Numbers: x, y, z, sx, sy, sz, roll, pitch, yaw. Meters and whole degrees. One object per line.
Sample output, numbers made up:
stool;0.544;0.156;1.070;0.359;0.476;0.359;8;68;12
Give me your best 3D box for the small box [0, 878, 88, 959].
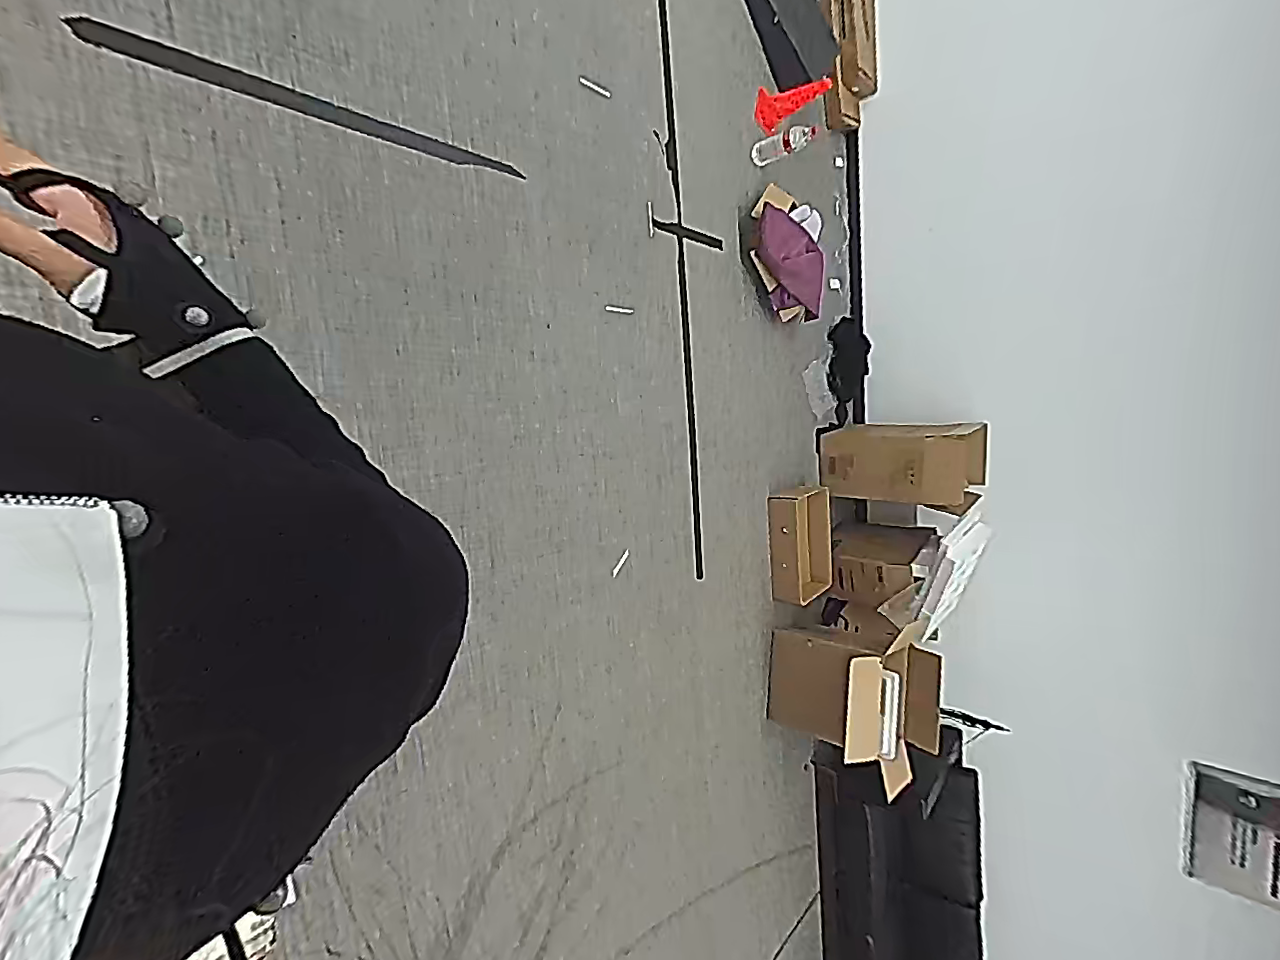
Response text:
small box;-0.791;0.637;0.641;0.179;0.176;0.168;-14;101;-45
